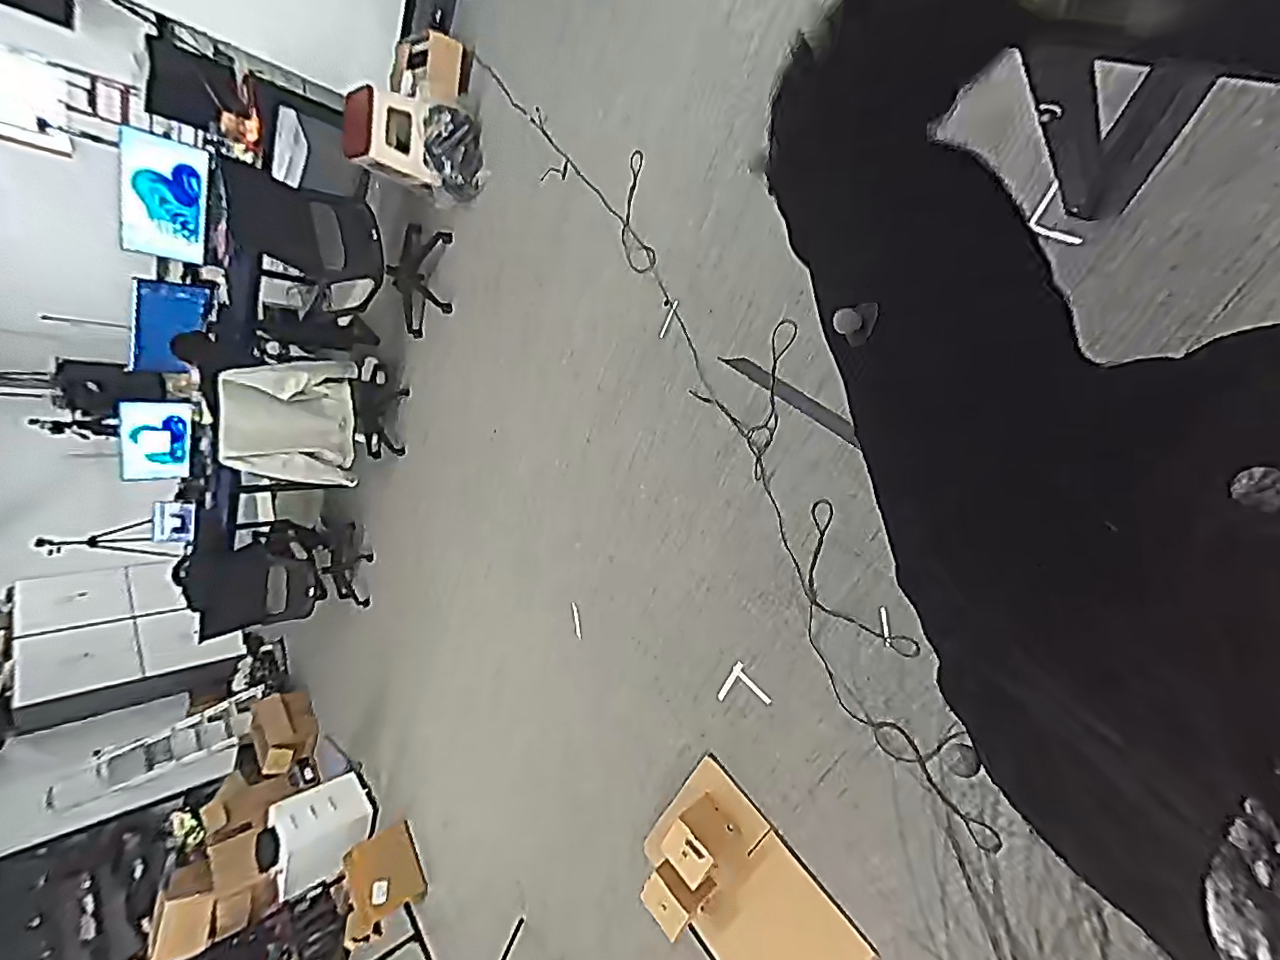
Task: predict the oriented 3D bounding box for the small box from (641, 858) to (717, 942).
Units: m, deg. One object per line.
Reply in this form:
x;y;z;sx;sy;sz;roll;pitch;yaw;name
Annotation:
0.138;1.458;1.916;0.179;0.176;0.168;35;117;34;small box

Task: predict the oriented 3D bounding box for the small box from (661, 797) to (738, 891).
0.208;1.223;1.831;0.168;0.176;0.179;38;118;34;small box
